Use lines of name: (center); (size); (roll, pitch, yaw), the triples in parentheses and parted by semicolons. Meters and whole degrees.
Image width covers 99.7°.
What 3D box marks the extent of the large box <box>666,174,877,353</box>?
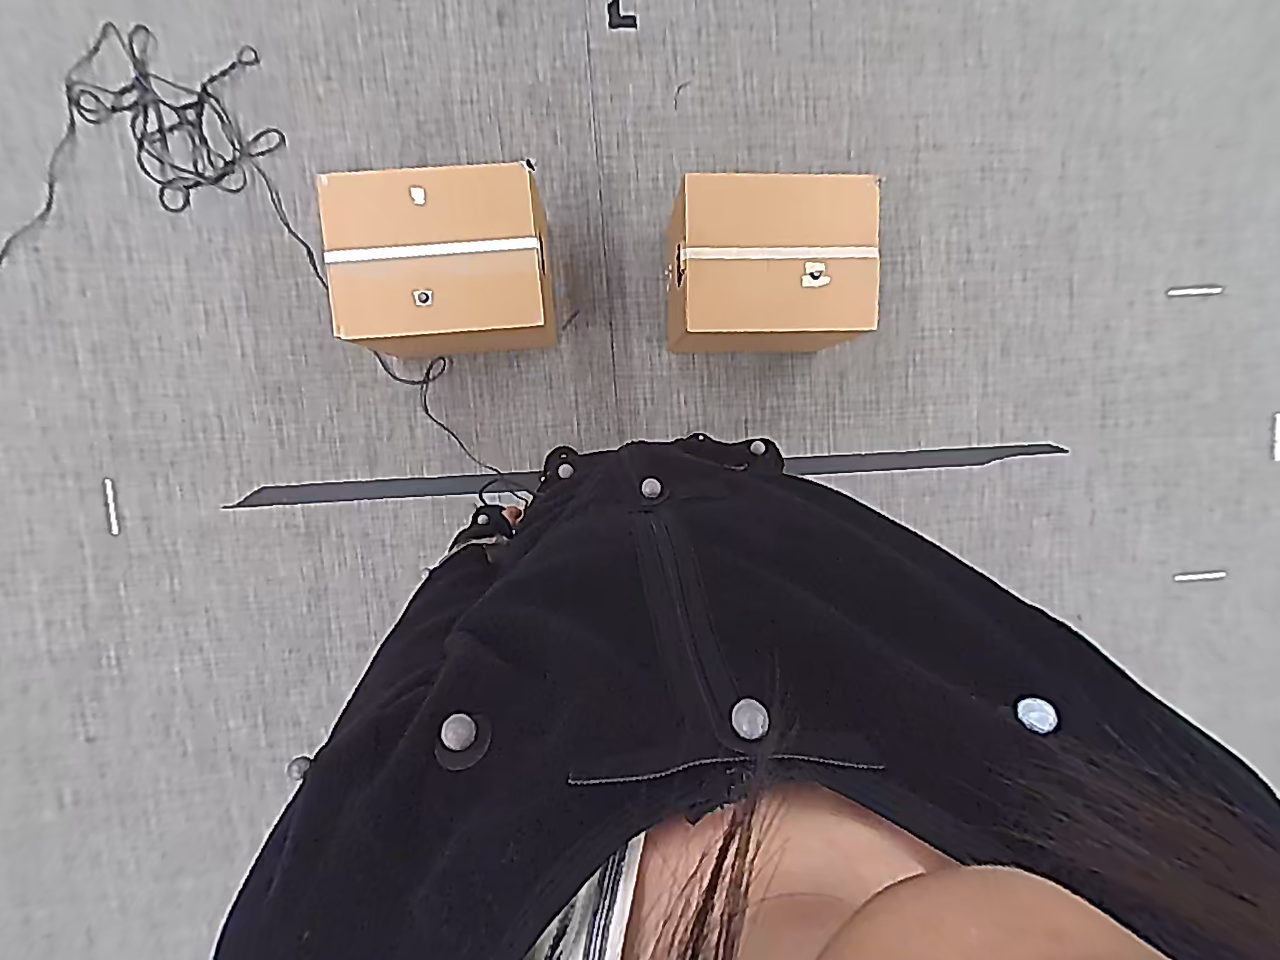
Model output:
large box: (0.280, -0.478, 1.257); (0.408, 0.320, 0.320); (-1, 96, -5)
